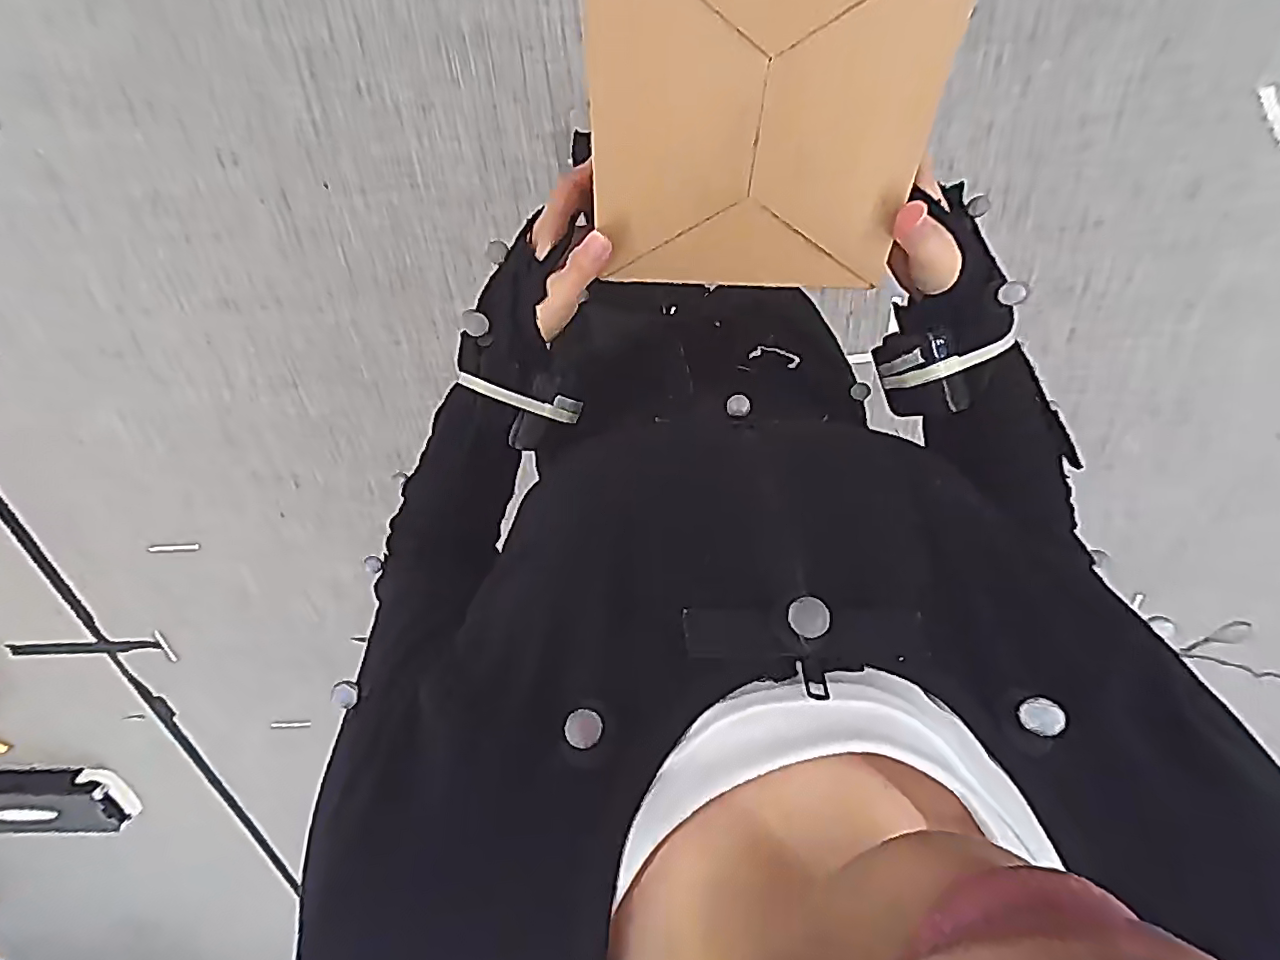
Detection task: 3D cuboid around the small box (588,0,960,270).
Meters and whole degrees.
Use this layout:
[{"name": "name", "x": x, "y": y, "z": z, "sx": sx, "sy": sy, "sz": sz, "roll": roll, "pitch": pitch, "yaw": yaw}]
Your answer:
[{"name": "small box", "x": 0.066, "y": -0.242, "z": 0.330, "sx": 0.179, "sy": 0.176, "sz": 0.168, "roll": 2, "pitch": 135, "yaw": 0}]
